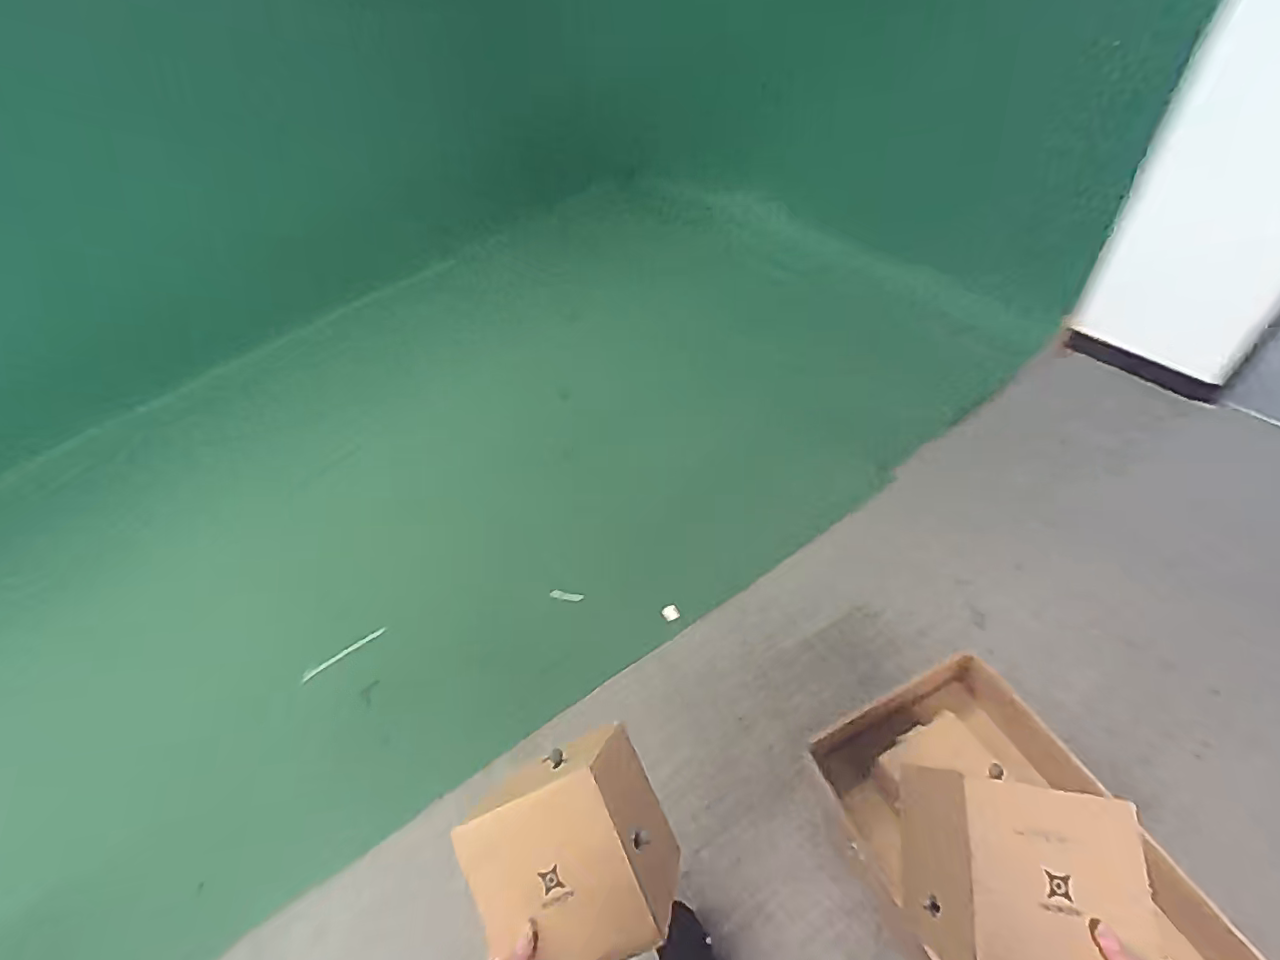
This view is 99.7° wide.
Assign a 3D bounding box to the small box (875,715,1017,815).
[{"bbox_3d":[0.548,0.563,0.966,0.168,0.176,0.179,-28,49,-8],"label":"small box"}]

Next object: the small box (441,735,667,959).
[{"bbox_3d":[-0.082,0.408,0.596,0.168,0.176,0.179,-27,79,3],"label":"small box"}]

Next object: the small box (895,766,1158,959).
[{"bbox_3d":[0.387,0.420,0.573,0.168,0.176,0.179,8,66,5],"label":"small box"}]
